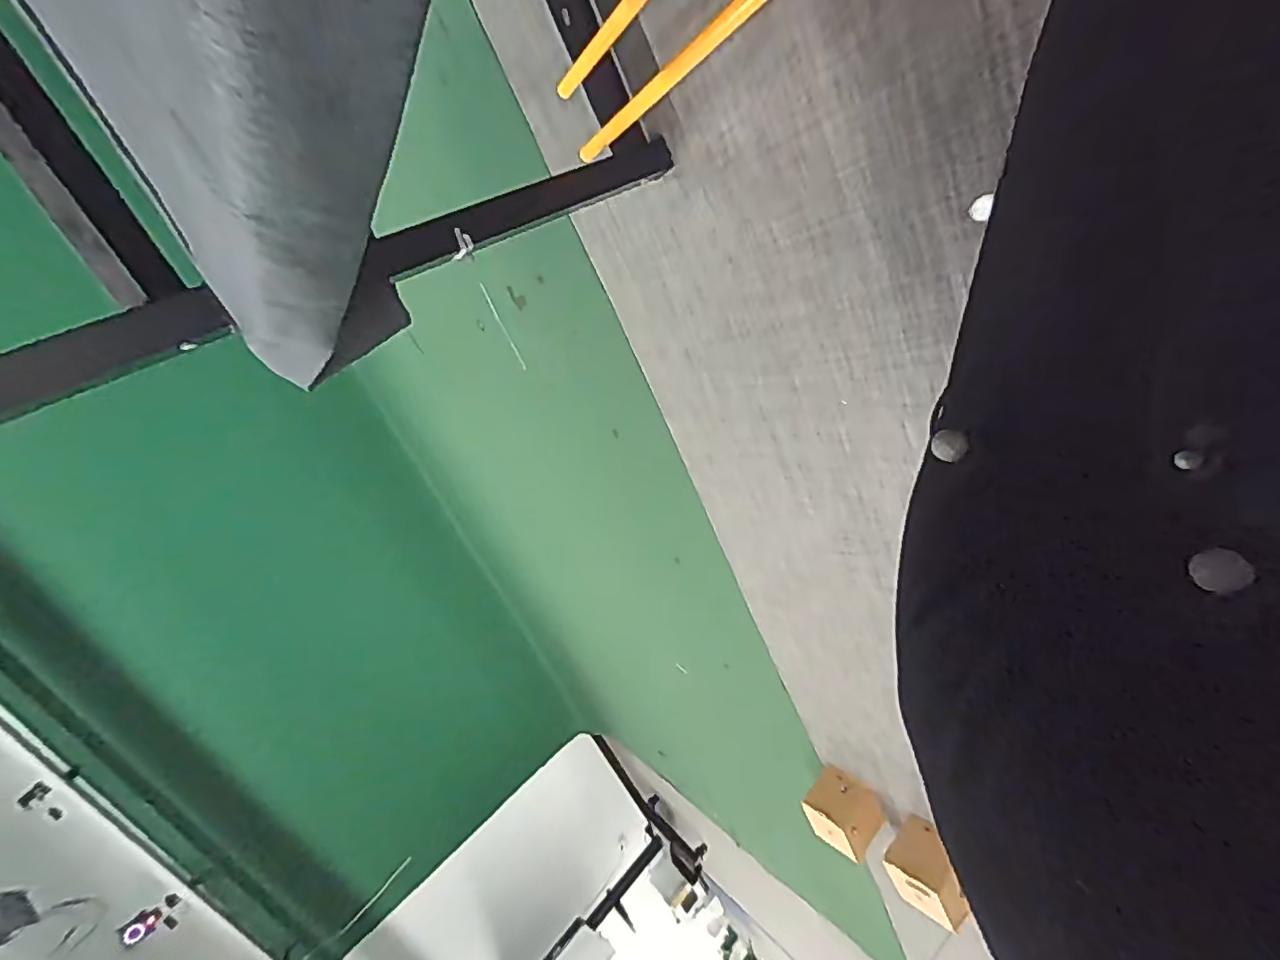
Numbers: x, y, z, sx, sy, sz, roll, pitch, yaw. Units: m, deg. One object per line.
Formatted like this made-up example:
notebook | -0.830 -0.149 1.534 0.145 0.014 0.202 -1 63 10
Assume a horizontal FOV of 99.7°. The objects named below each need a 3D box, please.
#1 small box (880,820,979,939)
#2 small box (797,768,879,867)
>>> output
small box | 0.817 1.111 1.522 0.168 0.176 0.179 -2 121 58
small box | 0.650 1.092 1.762 0.168 0.176 0.179 3 124 55
